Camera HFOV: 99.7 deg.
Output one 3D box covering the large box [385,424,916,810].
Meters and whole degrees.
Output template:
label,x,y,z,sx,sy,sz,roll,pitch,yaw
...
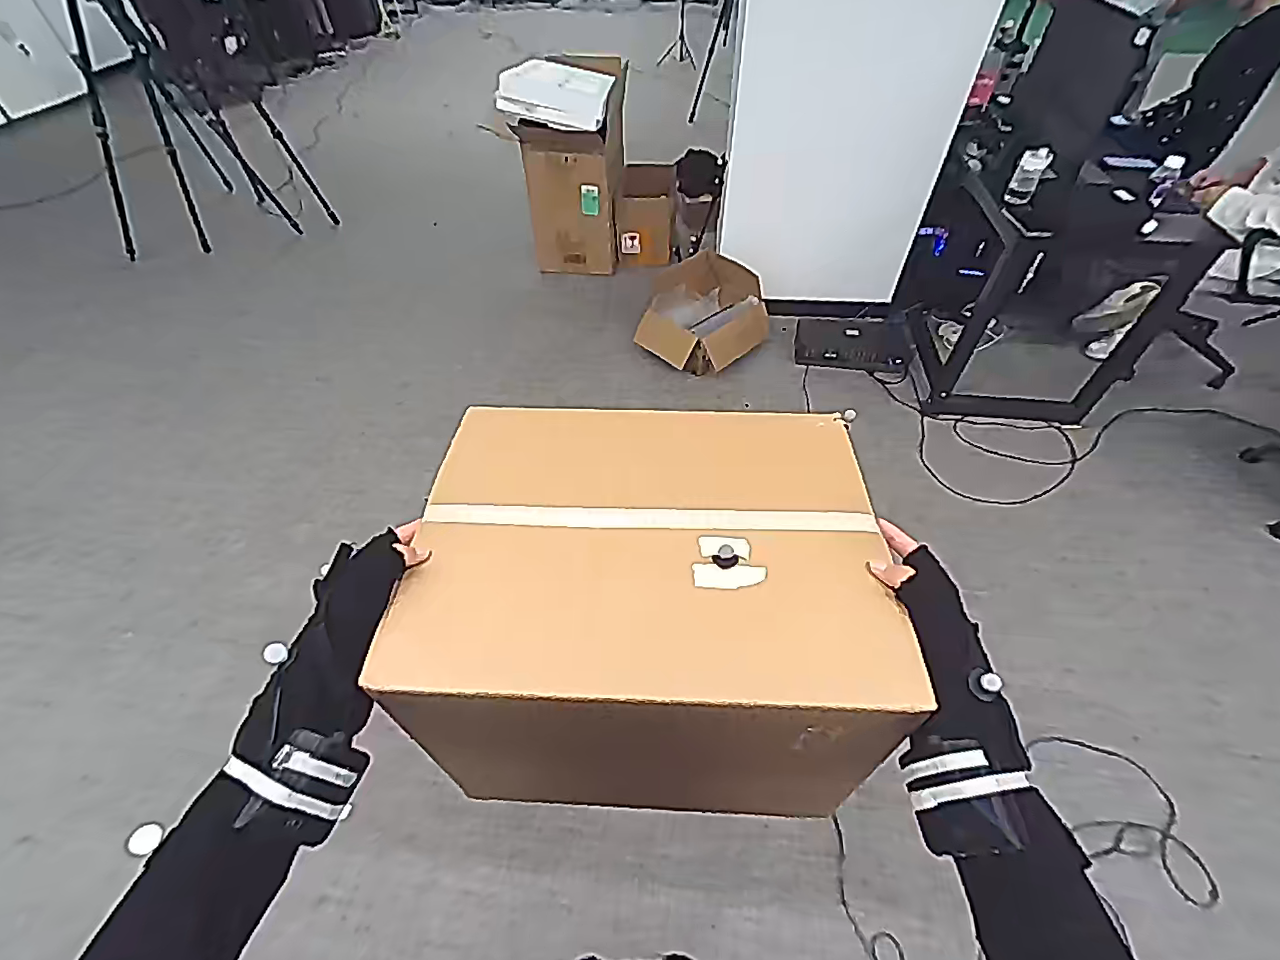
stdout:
label,x,y,z,sx,sy,sz,roll,pitch,yaw
large box,0.010,0.152,0.606,0.408,0.320,0.320,2,46,2
